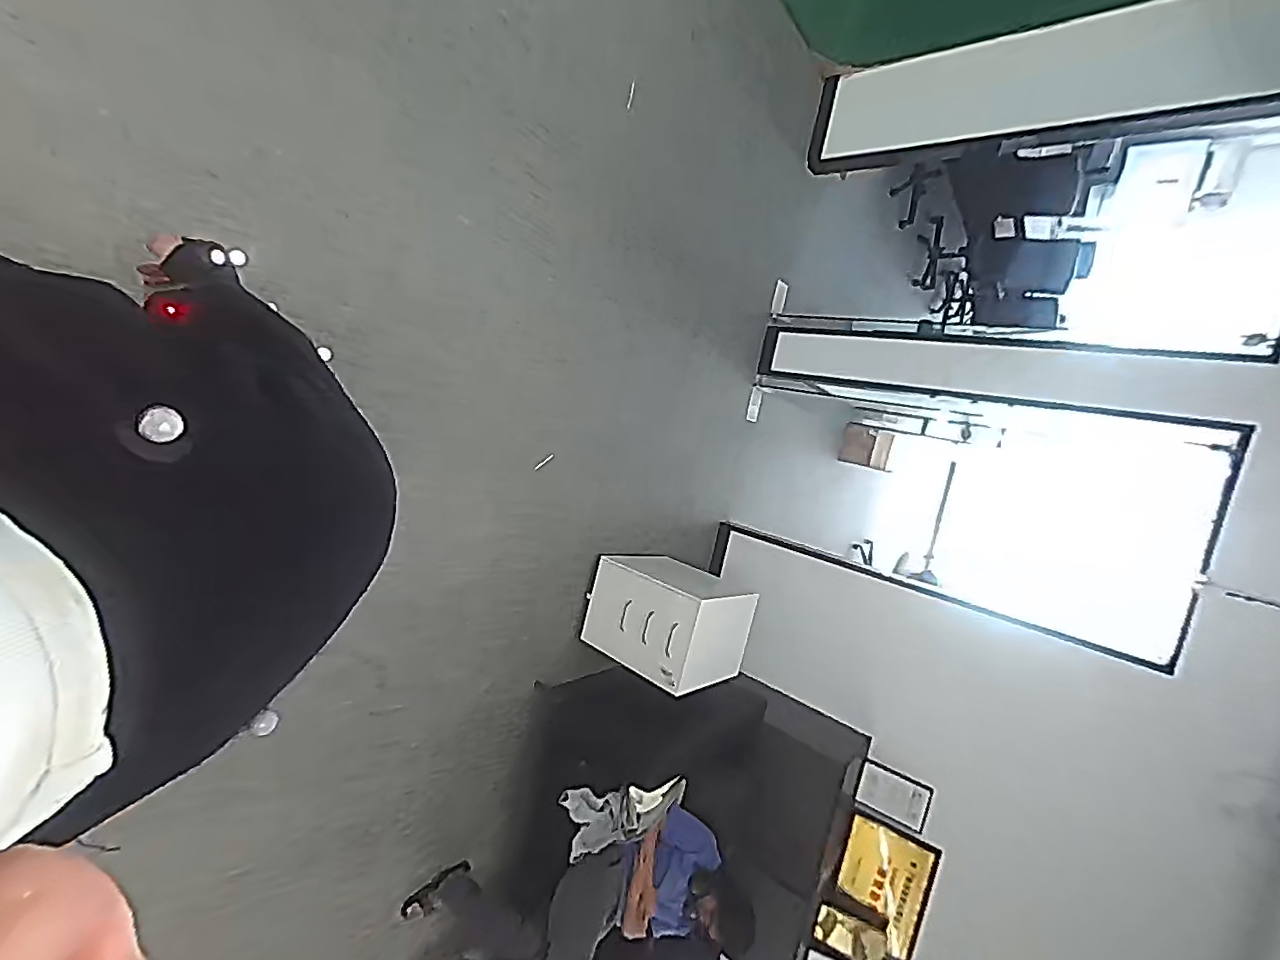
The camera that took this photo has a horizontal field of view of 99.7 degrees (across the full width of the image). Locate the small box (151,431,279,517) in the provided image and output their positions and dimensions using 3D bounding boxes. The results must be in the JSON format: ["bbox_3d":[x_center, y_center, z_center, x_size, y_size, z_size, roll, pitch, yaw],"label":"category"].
[{"bbox_3d":[-0.974,-0.007,1.240,0.179,0.176,0.168,16,91,-53],"label":"small box"}]
